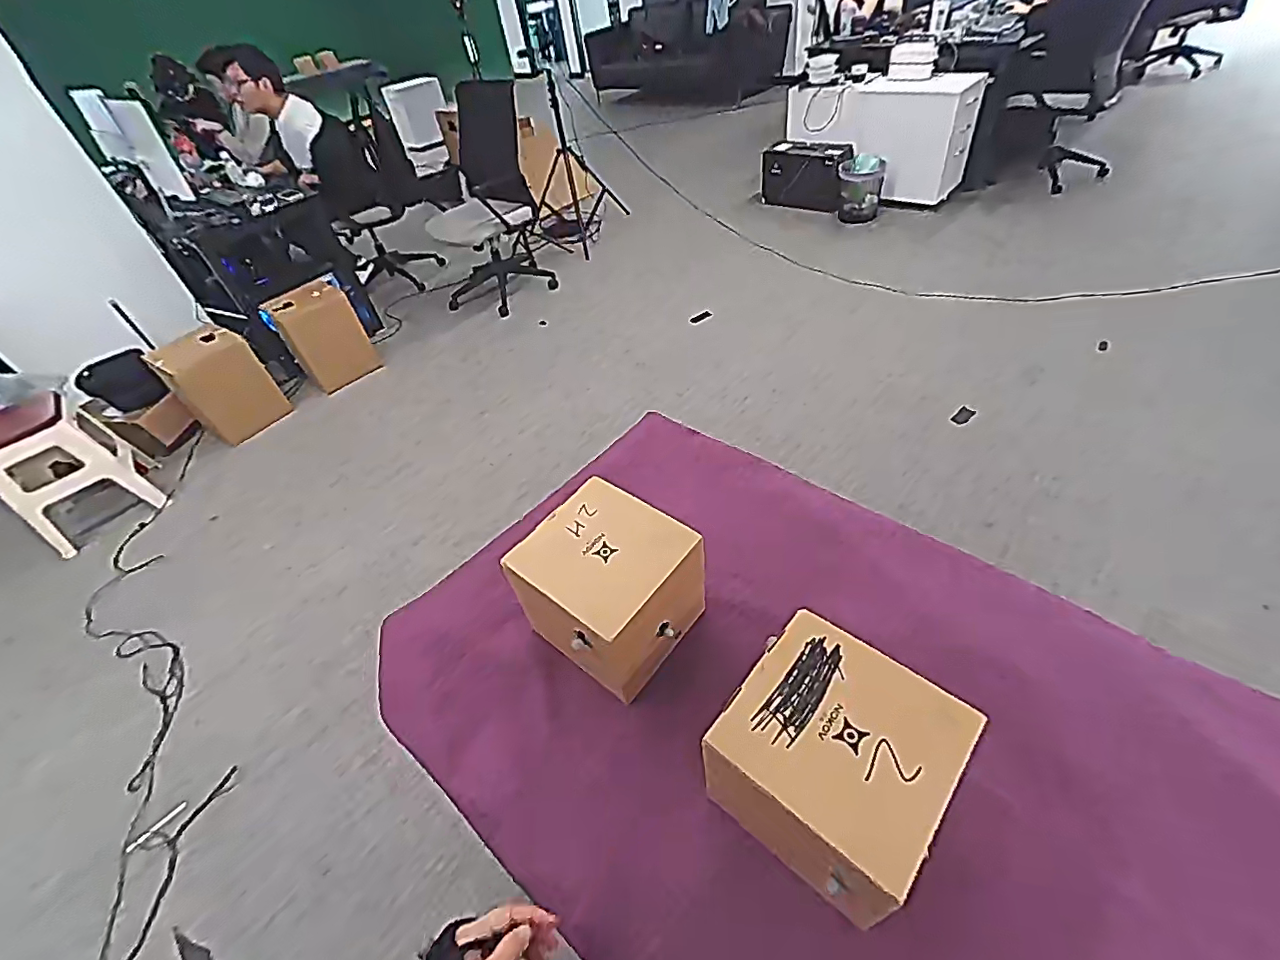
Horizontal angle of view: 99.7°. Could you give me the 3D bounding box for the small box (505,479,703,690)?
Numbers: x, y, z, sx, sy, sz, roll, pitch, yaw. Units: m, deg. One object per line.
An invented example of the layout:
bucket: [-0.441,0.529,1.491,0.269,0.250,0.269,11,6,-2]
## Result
small box: [-0.034,0.136,0.685,0.179,0.176,0.168,28,56,30]
